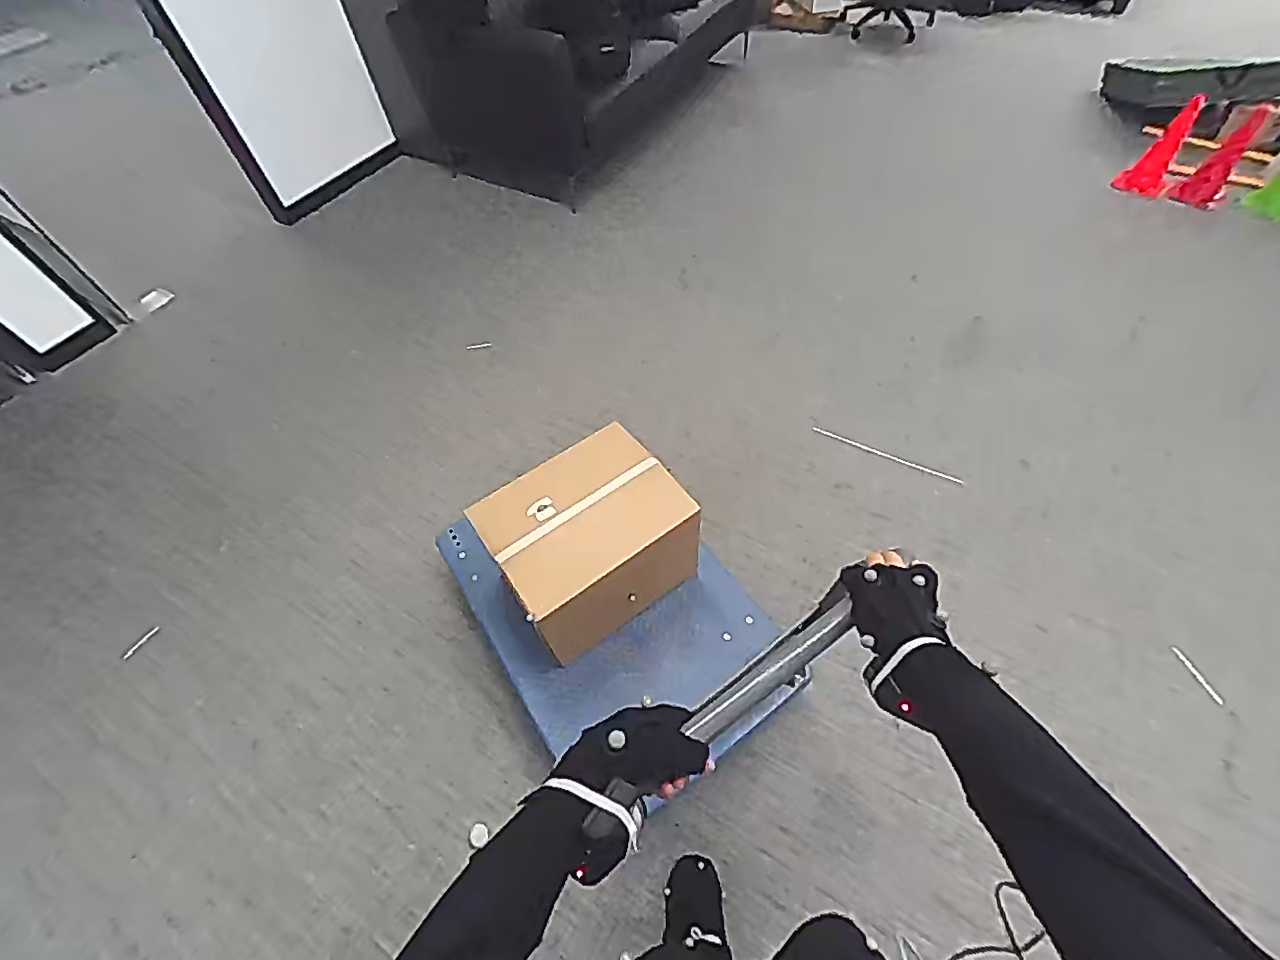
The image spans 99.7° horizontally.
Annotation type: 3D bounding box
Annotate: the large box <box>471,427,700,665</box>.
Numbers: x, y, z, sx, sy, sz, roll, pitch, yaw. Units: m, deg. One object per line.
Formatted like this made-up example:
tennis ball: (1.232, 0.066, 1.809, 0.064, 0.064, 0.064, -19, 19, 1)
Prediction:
large box: (-0.108, 0.156, 1.268, 0.408, 0.320, 0.320, -34, 60, -17)
